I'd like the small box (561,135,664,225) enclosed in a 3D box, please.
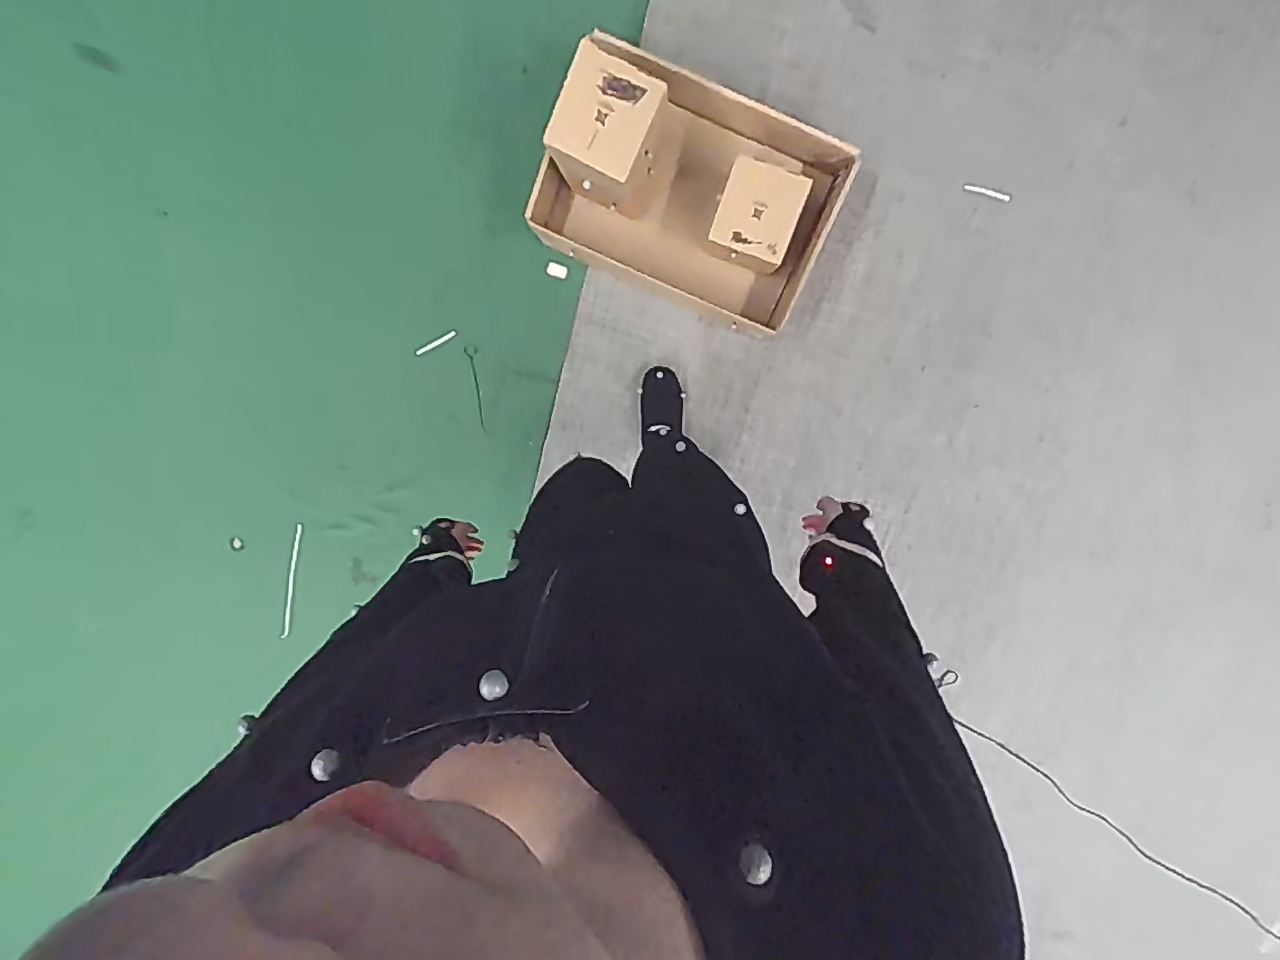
[{"bbox_3d":[-0.053,-0.690,1.186,0.168,0.176,0.179,24,103,-4],"label":"small box"}]

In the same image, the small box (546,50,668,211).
[{"bbox_3d":[-0.058,-0.648,1.028,0.168,0.176,0.179,26,104,-3],"label":"small box"}]
